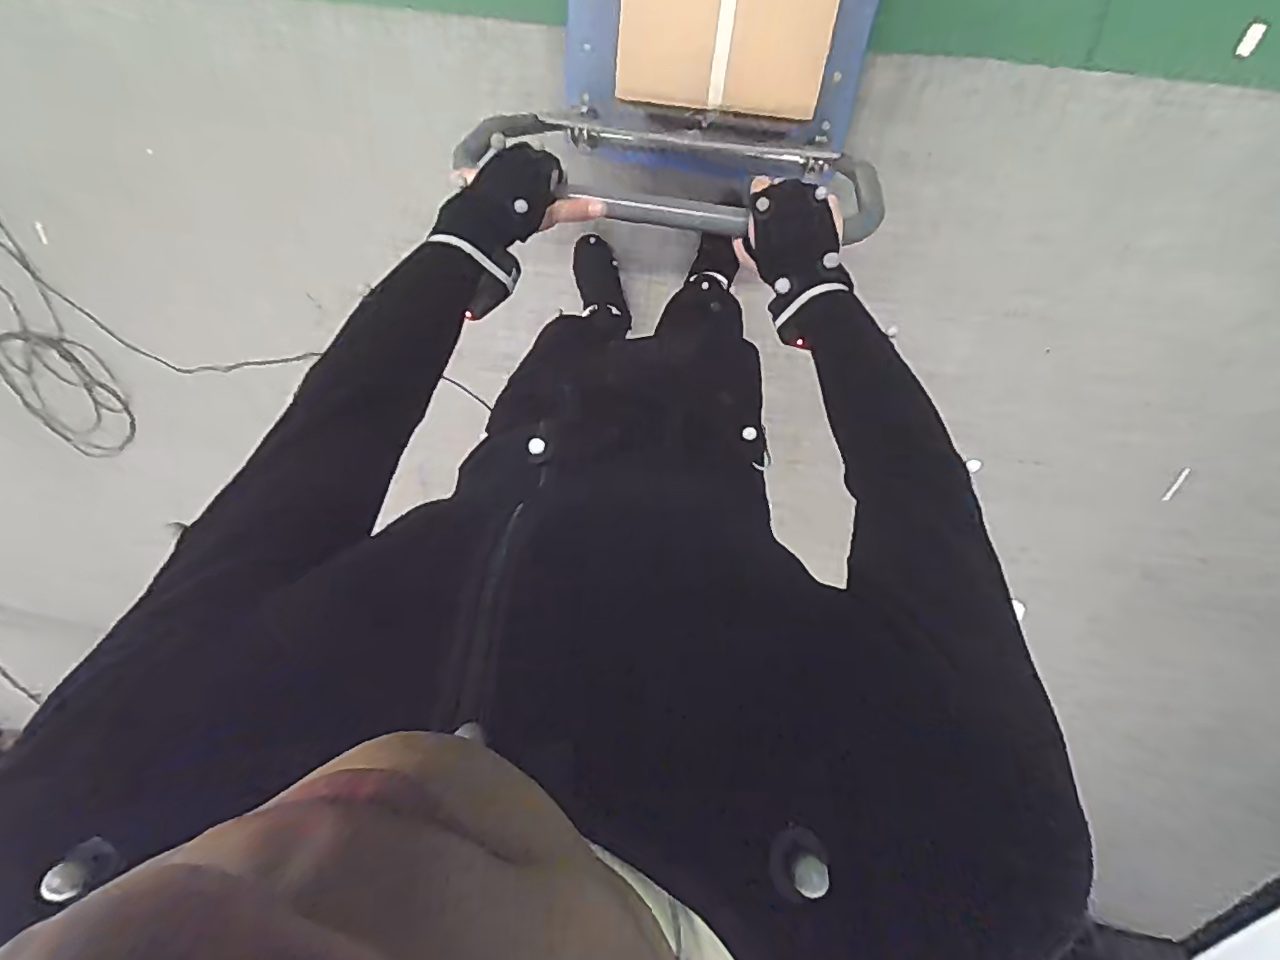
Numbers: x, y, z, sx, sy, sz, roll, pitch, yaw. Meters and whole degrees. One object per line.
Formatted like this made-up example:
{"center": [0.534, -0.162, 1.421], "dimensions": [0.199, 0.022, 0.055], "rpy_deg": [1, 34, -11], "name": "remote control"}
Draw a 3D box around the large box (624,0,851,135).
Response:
{"center": [0.168, -0.806, 0.863], "dimensions": [0.320, 0.320, 0.408], "rpy_deg": [10, 121, 4], "name": "large box"}
